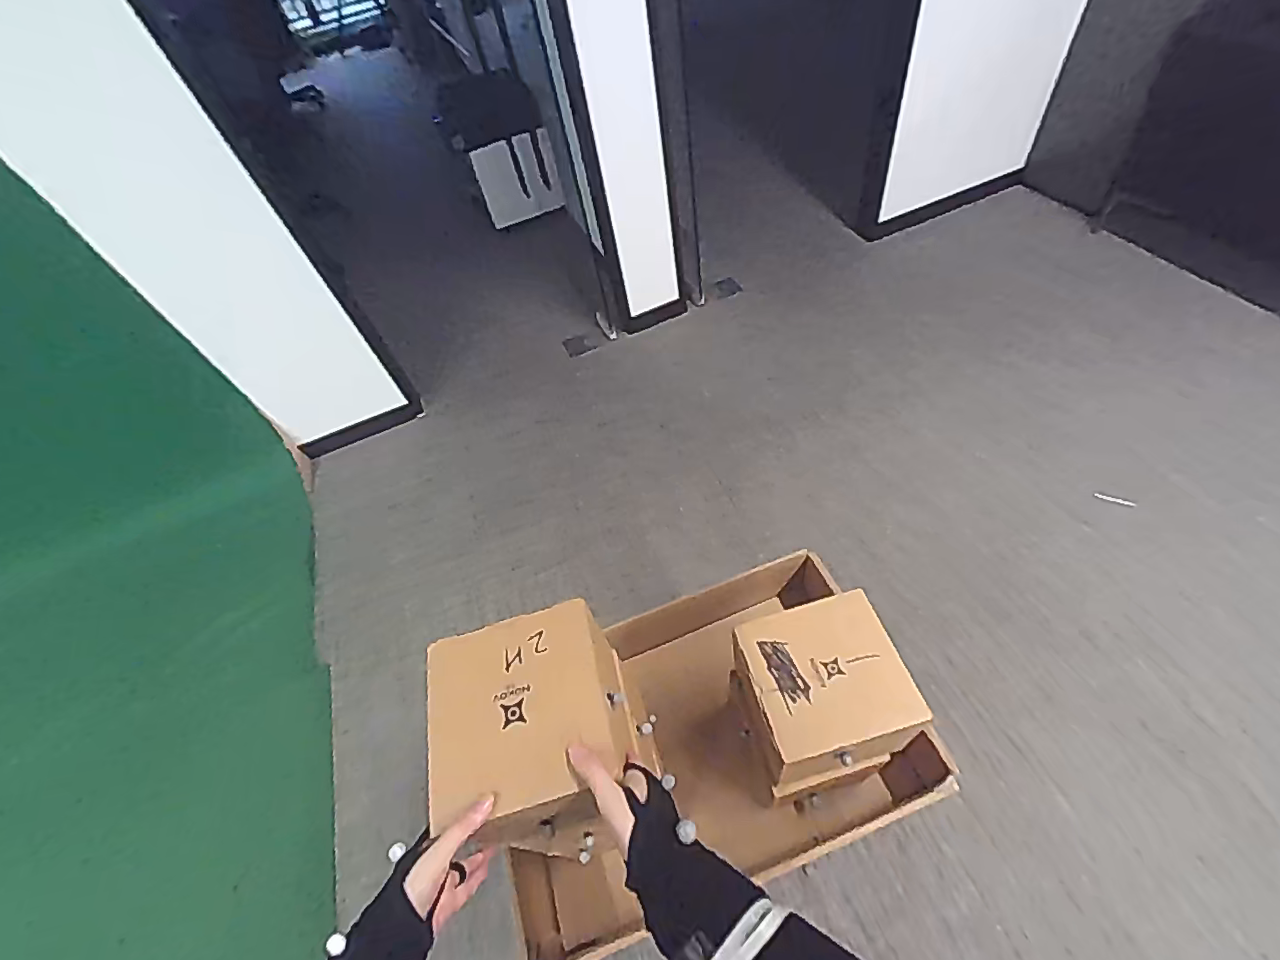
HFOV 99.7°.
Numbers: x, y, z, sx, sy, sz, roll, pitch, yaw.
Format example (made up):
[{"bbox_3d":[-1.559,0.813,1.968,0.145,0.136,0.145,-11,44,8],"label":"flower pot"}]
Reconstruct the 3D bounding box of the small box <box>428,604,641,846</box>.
[{"bbox_3d":[-0.104,0.261,0.565,0.168,0.176,0.179,-16,51,-2],"label":"small box"}]

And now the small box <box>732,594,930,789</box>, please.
[{"bbox_3d":[0.230,0.276,0.695,0.179,0.176,0.168,-16,51,-2],"label":"small box"}]

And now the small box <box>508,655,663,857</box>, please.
[{"bbox_3d":[-0.076,0.357,0.696,0.168,0.176,0.179,-17,52,-2],"label":"small box"}]
